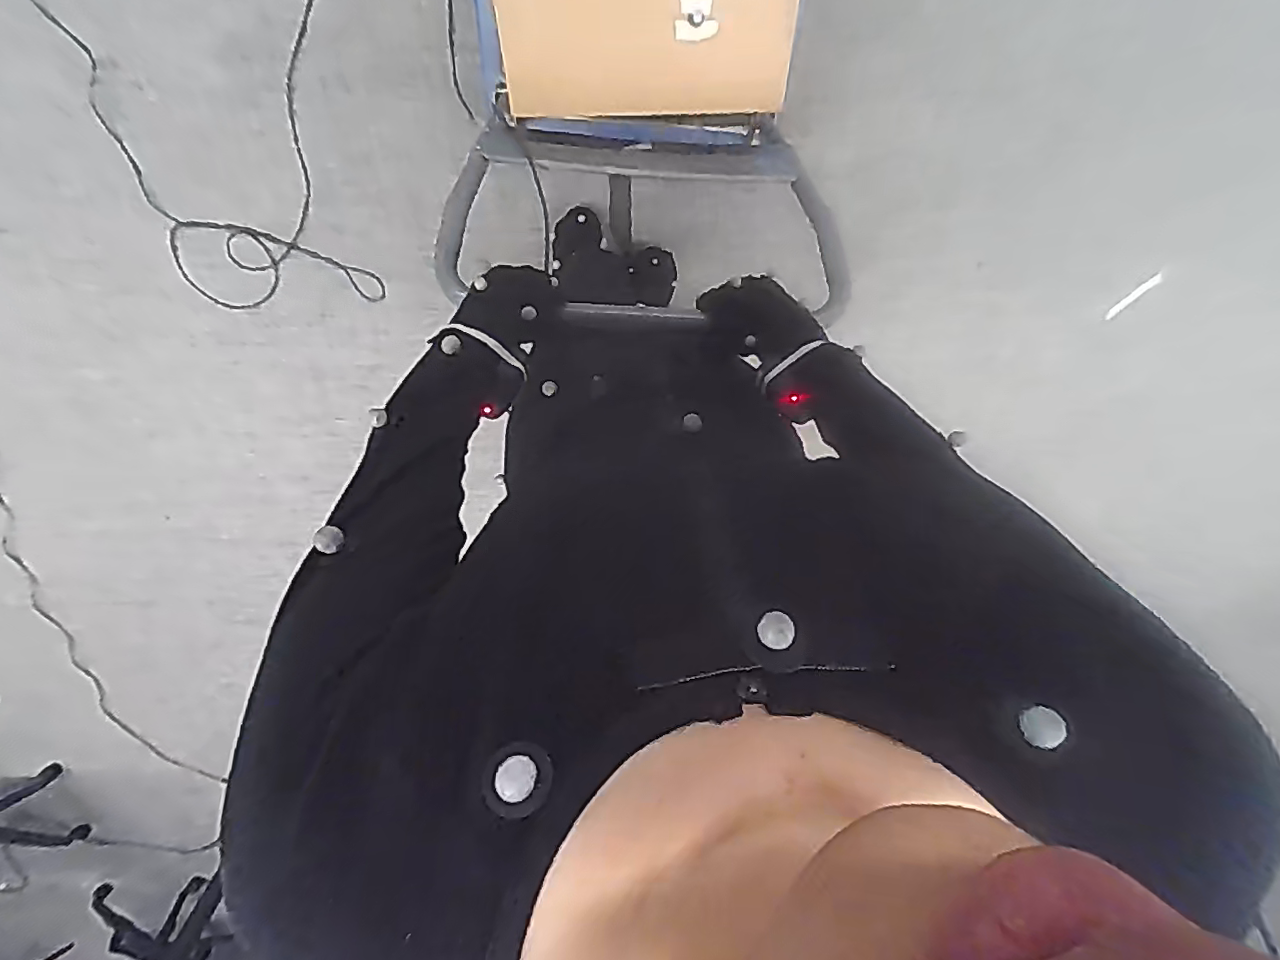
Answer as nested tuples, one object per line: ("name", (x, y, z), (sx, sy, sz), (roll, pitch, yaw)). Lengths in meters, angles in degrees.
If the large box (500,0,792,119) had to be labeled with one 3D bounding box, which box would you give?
("large box", (0.000, -0.770, 0.815), (0.408, 0.320, 0.320), (-3, 136, -1))
